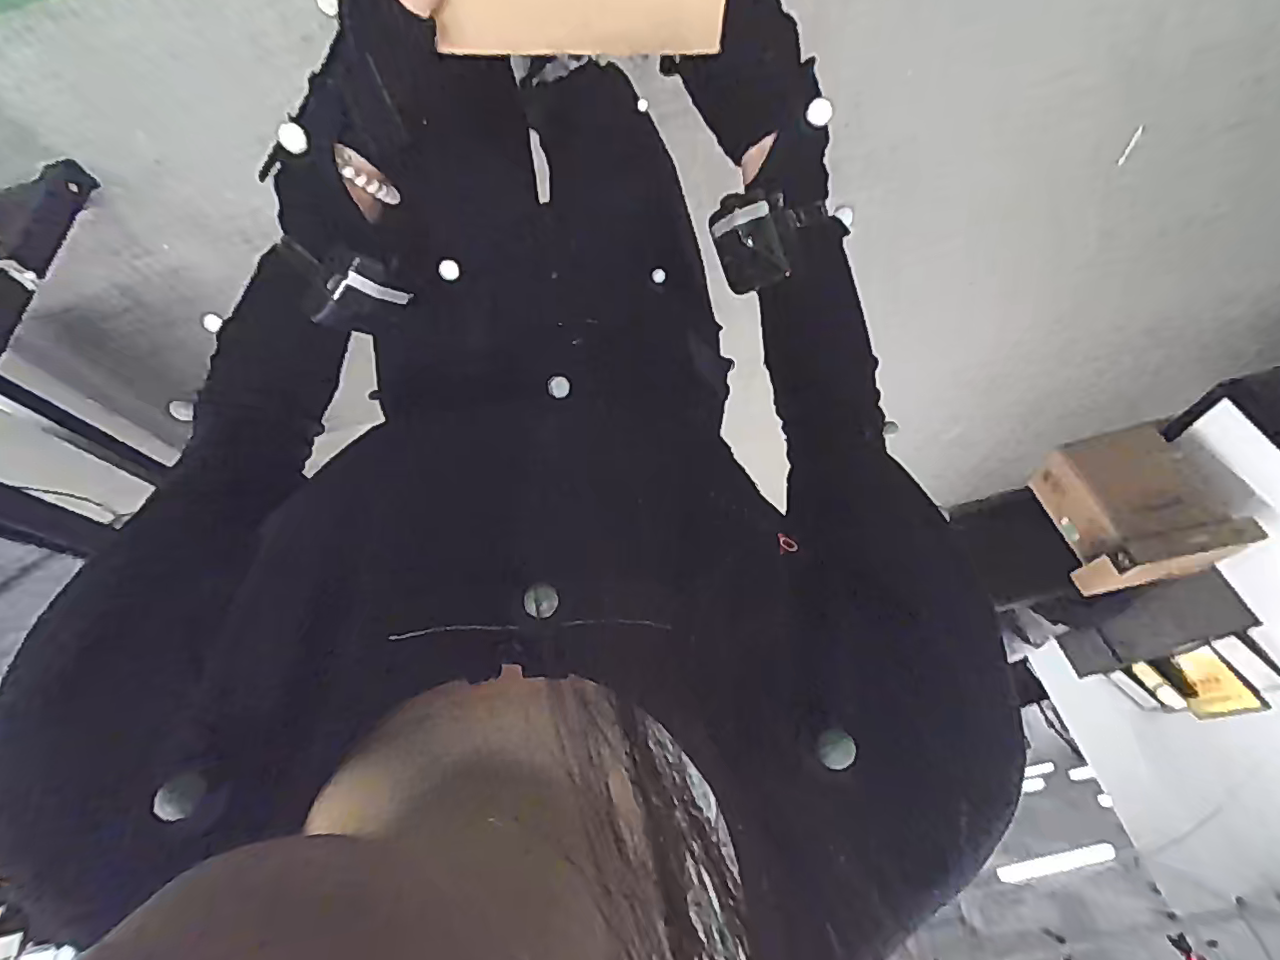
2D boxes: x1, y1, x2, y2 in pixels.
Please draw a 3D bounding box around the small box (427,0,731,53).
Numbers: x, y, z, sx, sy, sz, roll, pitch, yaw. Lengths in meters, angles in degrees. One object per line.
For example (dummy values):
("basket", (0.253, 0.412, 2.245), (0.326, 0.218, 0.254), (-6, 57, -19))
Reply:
("small box", (-0.040, -0.372, 0.306), (0.179, 0.176, 0.168), (-4, 144, -6))
